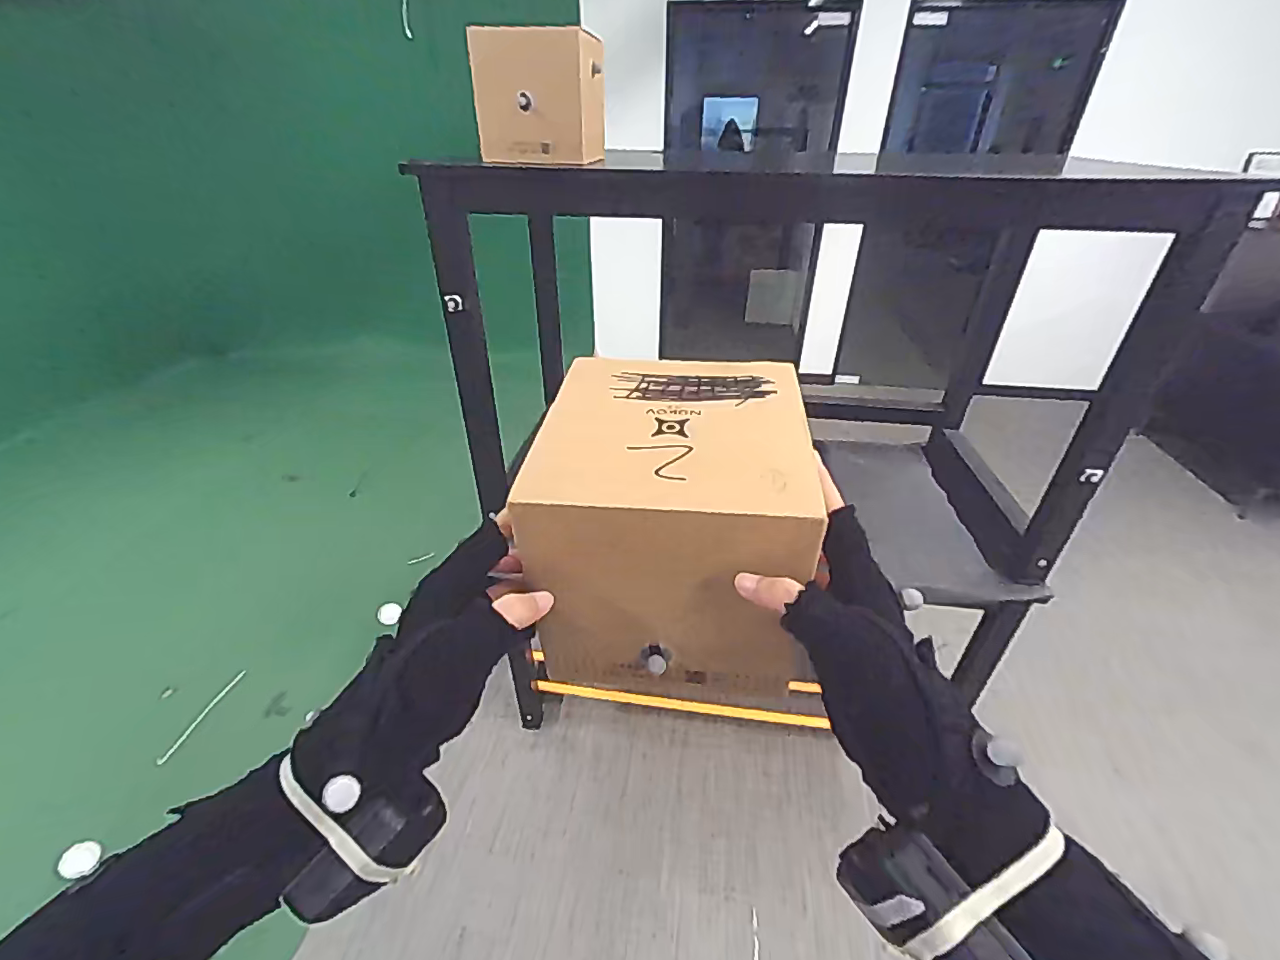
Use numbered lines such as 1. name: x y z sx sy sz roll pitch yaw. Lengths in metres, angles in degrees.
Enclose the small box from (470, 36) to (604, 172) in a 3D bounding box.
1. small box: -0.153 -0.600 0.876 0.168 0.176 0.179 5 33 6
